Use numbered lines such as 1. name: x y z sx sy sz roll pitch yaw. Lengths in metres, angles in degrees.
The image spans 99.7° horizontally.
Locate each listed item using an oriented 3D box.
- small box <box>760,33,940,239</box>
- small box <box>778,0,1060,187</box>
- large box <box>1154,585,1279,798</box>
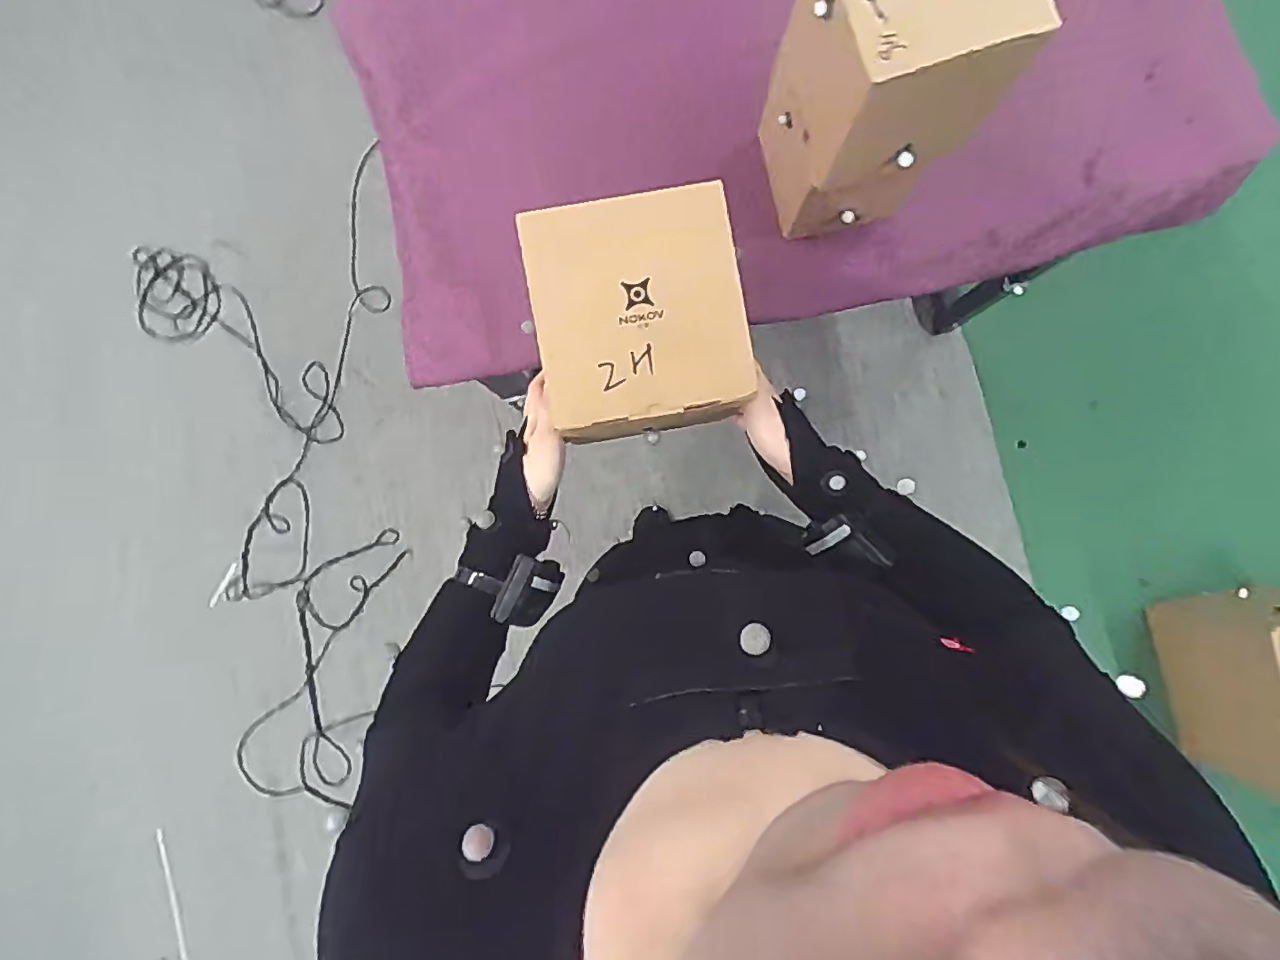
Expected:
1. small box: 0.268 -0.457 0.715 0.168 0.176 0.179 -13 86 2
2. small box: 0.261 -0.439 0.551 0.179 0.176 0.168 -16 86 1
3. large box: 1.535 0.491 1.263 0.320 0.320 0.408 -12 87 2
